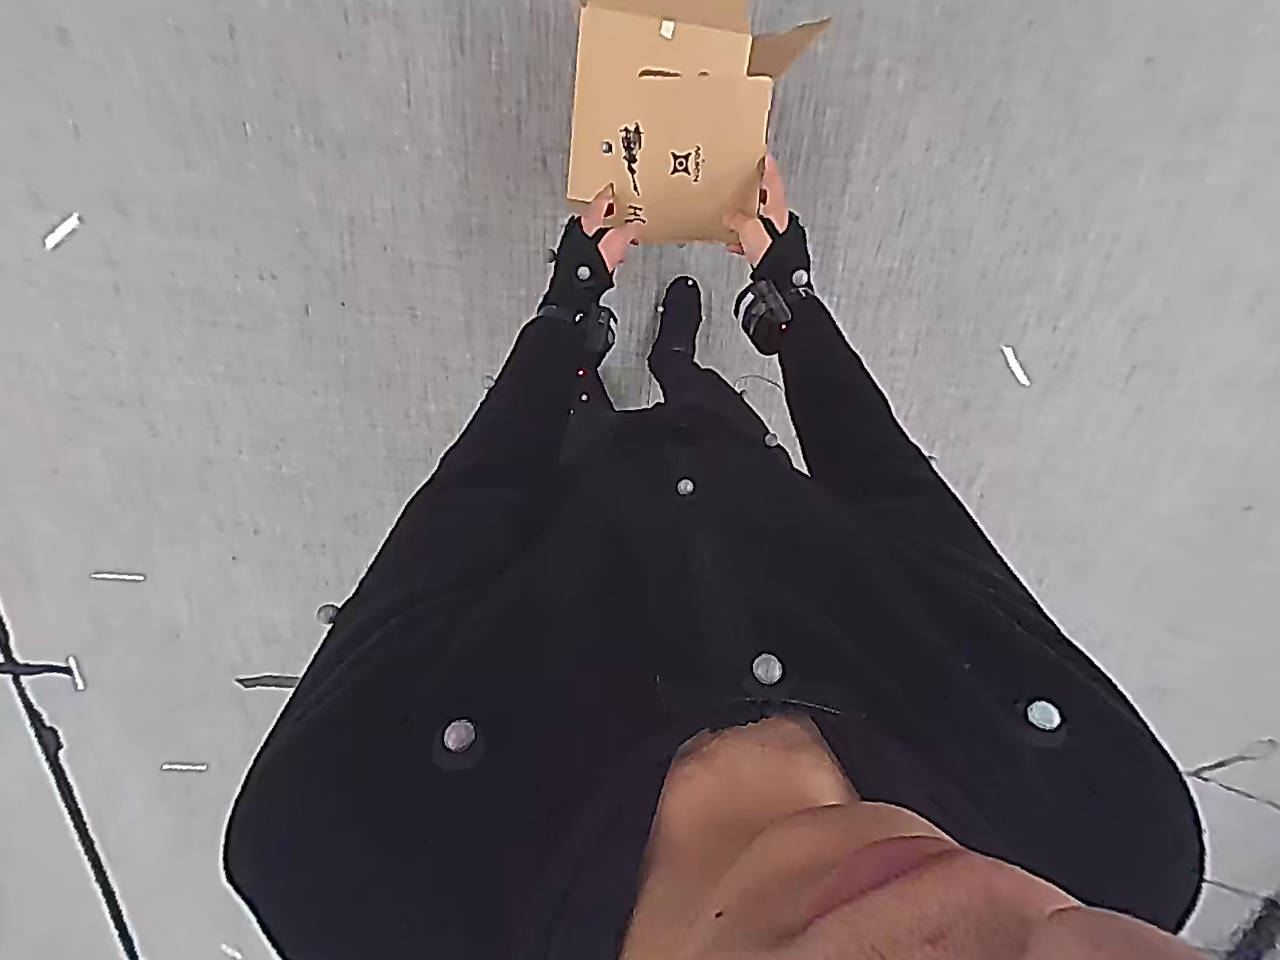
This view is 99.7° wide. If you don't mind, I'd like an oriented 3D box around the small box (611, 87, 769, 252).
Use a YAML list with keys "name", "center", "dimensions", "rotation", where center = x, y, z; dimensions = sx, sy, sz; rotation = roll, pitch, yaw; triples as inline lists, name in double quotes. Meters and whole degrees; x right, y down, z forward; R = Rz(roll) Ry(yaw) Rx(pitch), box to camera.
- name: "small box"
  center: [0.054, -0.396, 0.699]
  dimensions: [0.179, 0.176, 0.168]
  rotation: [1, 120, 1]
